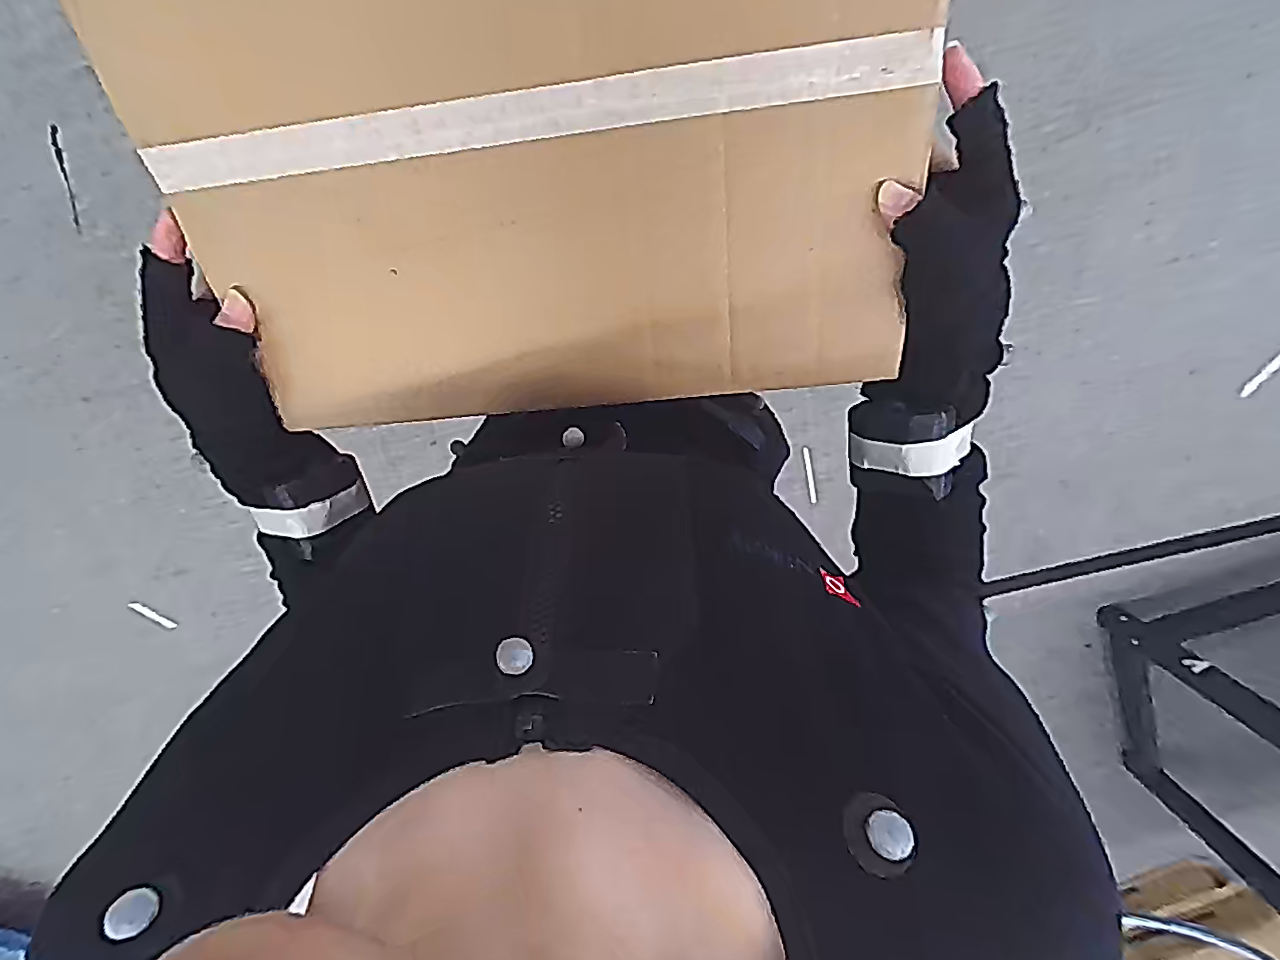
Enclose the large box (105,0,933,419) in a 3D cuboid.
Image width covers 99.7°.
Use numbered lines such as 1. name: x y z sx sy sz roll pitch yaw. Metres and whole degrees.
1. large box: -0.052 -0.264 0.410 0.408 0.320 0.320 -4 122 6
